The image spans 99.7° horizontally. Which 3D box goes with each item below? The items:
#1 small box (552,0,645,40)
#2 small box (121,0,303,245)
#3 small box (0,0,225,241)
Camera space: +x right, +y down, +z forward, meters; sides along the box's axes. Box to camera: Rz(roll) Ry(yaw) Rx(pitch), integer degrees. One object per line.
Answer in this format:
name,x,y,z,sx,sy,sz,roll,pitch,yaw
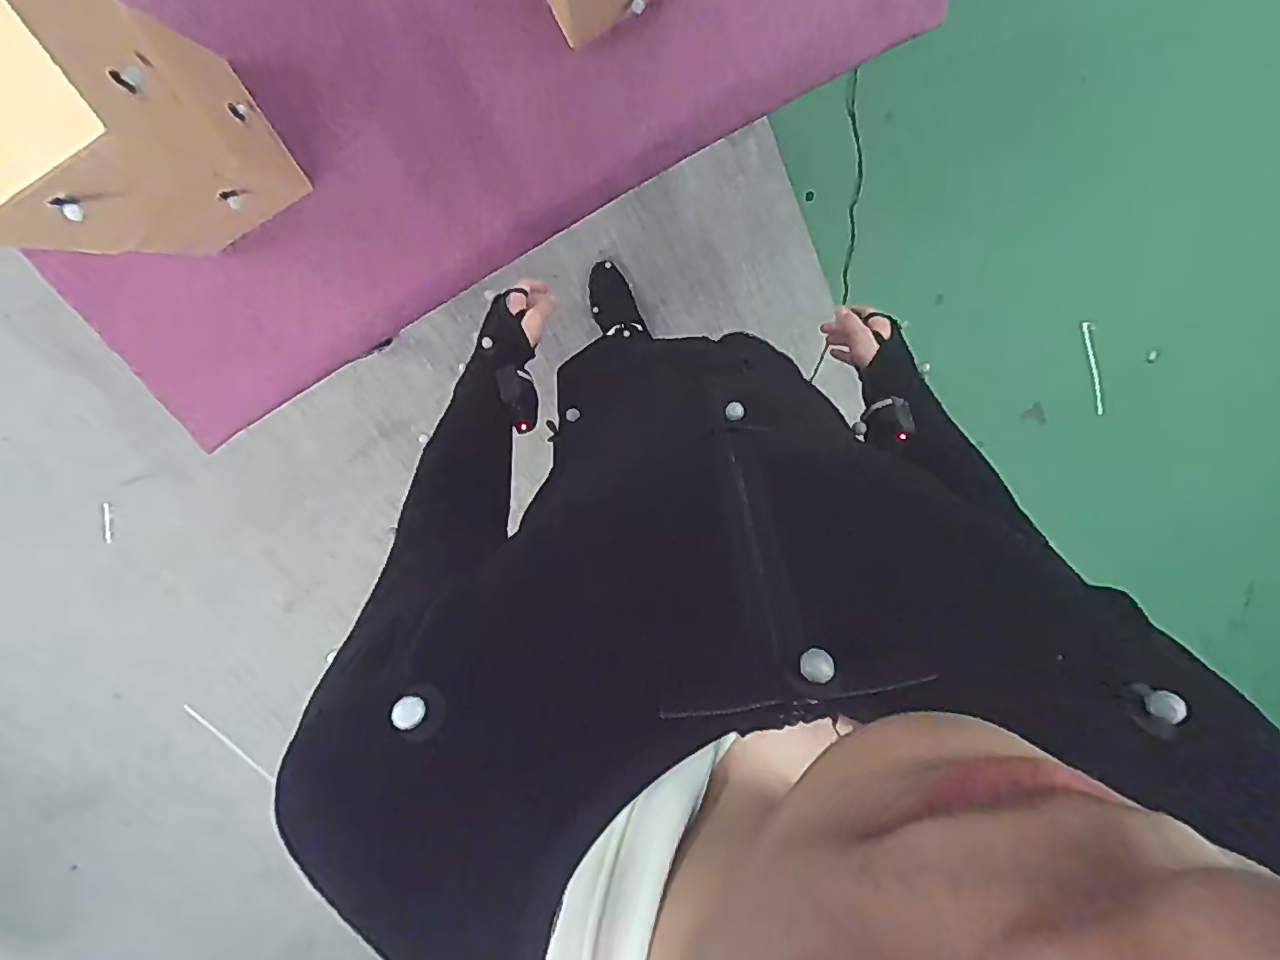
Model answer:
small box,-0.042,-0.630,0.576,0.179,0.176,0.168,-29,110,8
small box,-0.542,-0.399,0.640,0.179,0.176,0.168,-27,110,7
small box,-0.532,-0.337,0.490,0.179,0.176,0.168,-27,111,8
